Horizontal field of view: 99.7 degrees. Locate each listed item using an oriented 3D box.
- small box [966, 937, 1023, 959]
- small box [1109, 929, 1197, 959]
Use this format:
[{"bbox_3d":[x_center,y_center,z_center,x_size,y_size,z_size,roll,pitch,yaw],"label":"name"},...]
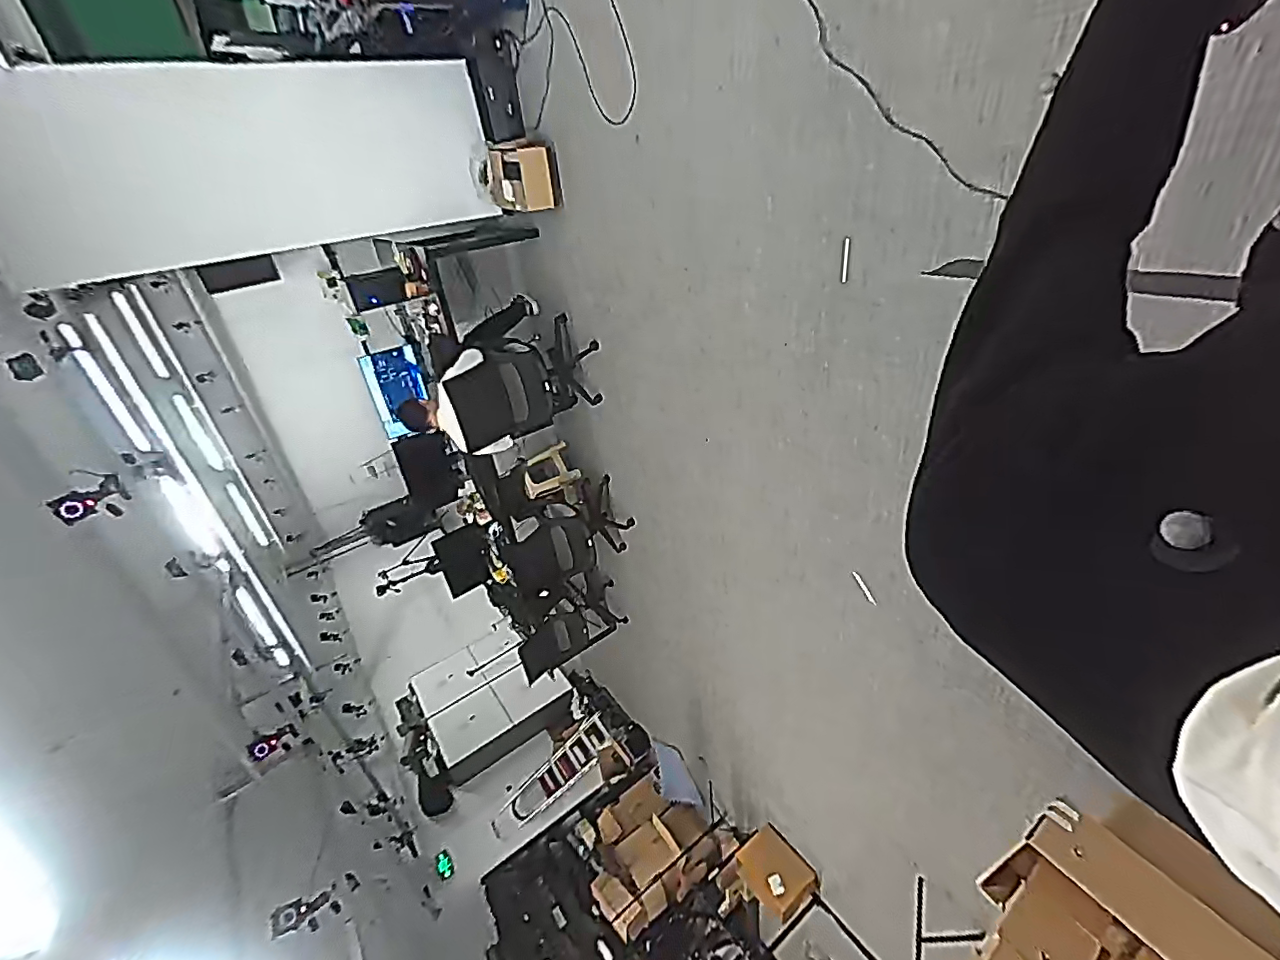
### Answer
[{"bbox_3d":[0.877,1.265,1.309,0.168,0.176,0.179,39,146,36],"label":"small box"},{"bbox_3d":[1.273,1.241,1.314,0.179,0.176,0.168,42,147,40],"label":"small box"}]
